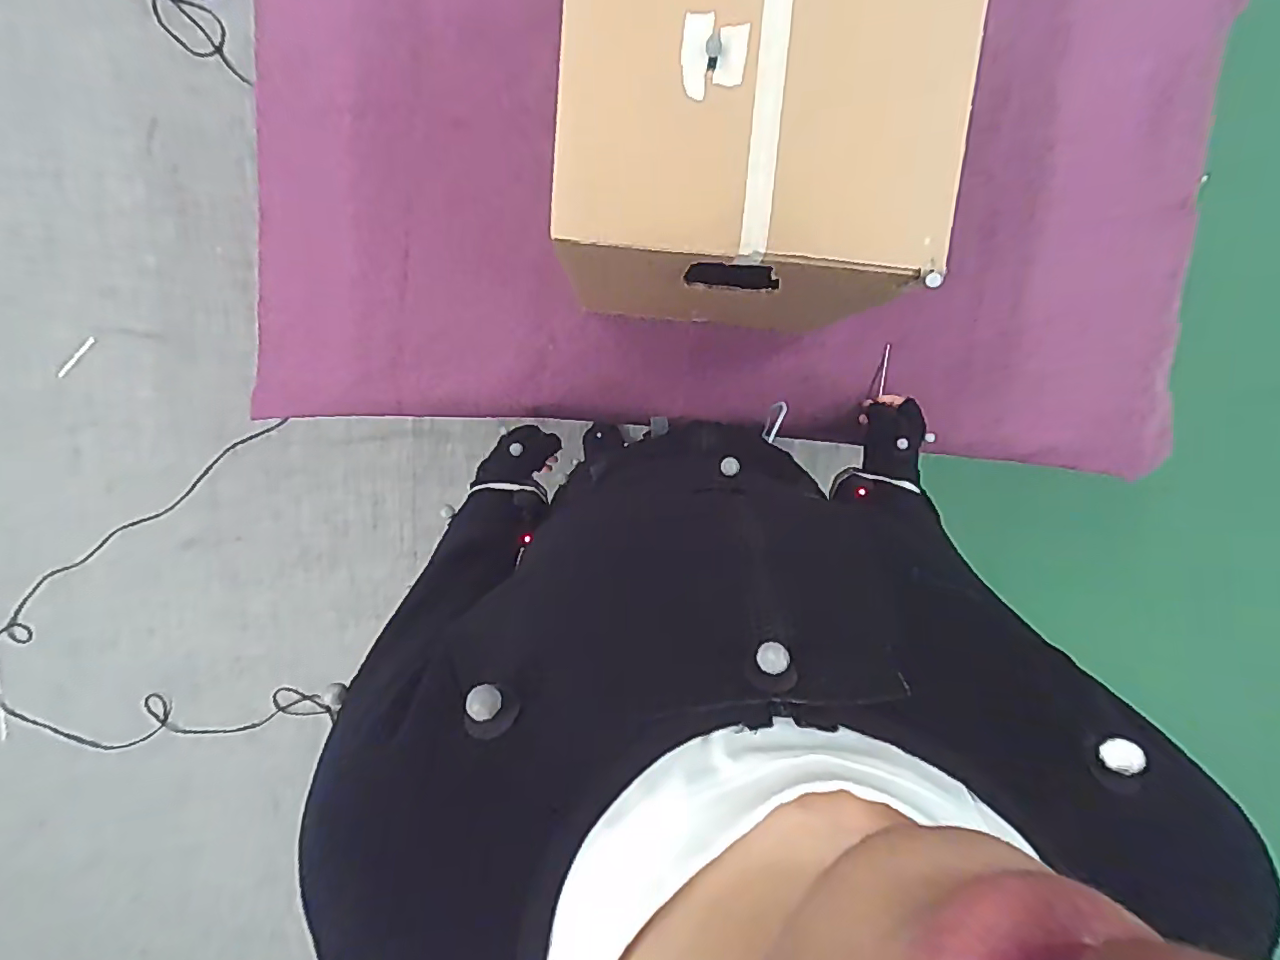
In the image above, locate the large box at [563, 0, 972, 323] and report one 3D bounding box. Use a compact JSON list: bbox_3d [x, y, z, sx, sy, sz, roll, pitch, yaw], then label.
[{"bbox_3d":[0.100,-0.399,0.559,0.320,0.320,0.408,5,98,-2],"label":"large box"}]
